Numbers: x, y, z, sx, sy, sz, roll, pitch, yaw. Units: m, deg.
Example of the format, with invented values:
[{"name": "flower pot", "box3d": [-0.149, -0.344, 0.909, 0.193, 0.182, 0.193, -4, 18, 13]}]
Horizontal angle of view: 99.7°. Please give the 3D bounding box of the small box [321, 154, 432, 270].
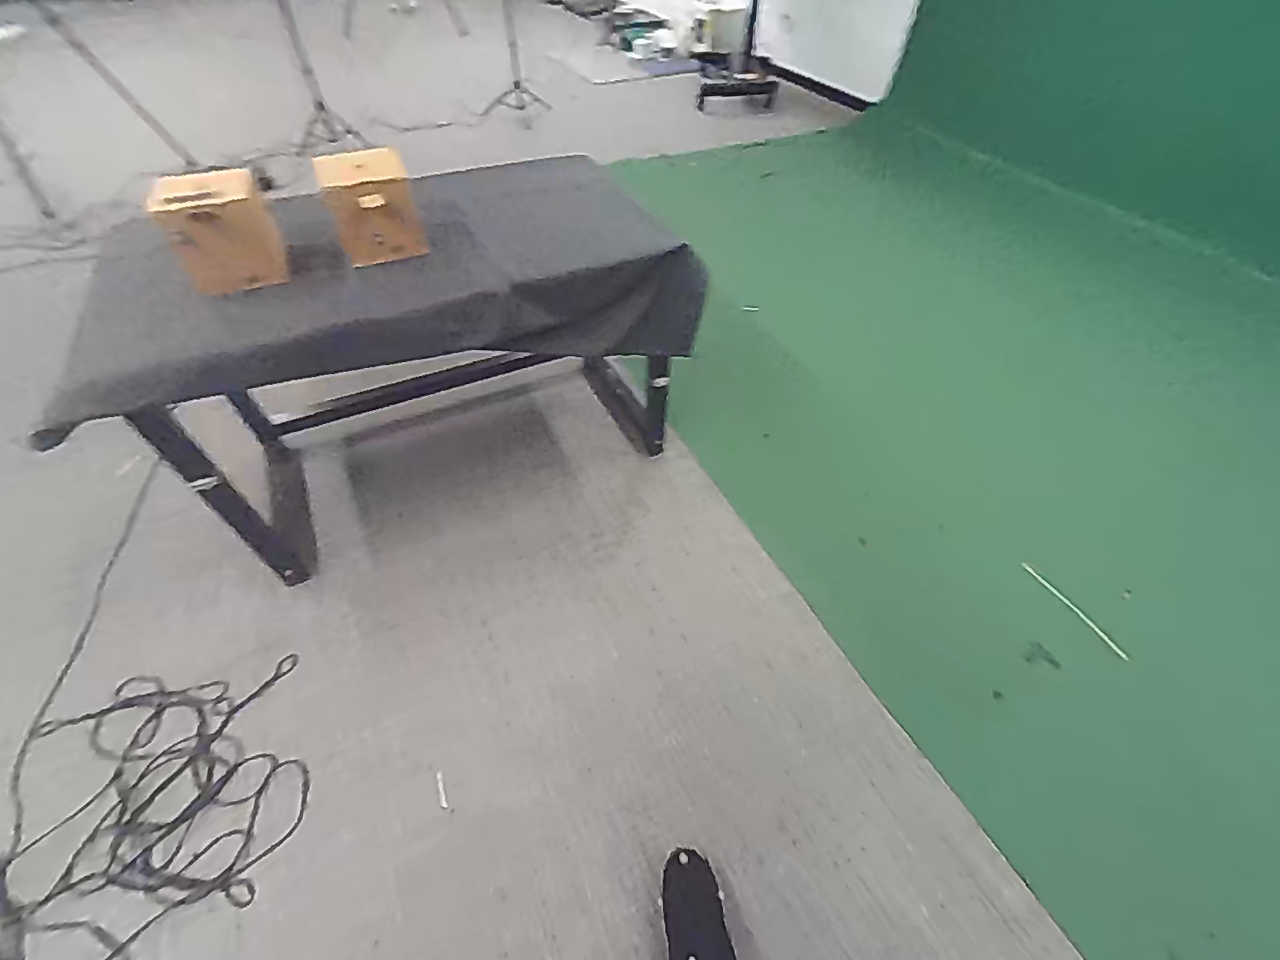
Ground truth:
[{"name": "small box", "box3d": [-0.577, -0.589, 1.191, 0.168, 0.176, 0.179, -20, 53, -18]}]
